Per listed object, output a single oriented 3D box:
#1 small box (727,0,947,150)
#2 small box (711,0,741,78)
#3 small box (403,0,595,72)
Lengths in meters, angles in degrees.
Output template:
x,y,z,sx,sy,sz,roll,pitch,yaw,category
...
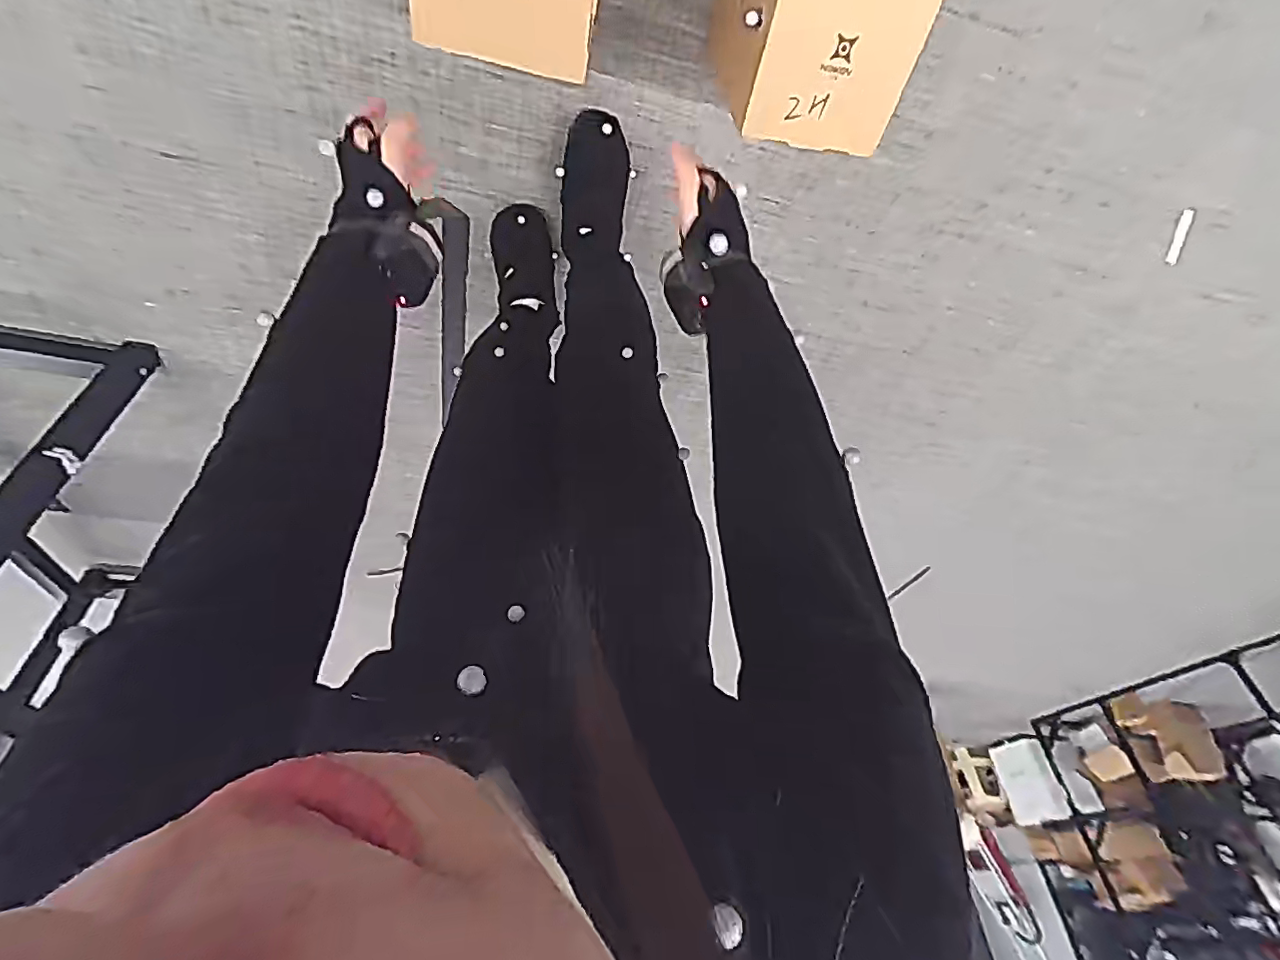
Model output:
x,y,z,sx,sy,sz,roll,pitch,yaw,category
0.203,-0.503,0.593,0.168,0.176,0.179,4,142,-9,small box
0.194,-0.635,0.693,0.168,0.176,0.179,3,142,-8,small box
-0.126,-0.539,0.522,0.179,0.176,0.168,7,142,-12,small box
